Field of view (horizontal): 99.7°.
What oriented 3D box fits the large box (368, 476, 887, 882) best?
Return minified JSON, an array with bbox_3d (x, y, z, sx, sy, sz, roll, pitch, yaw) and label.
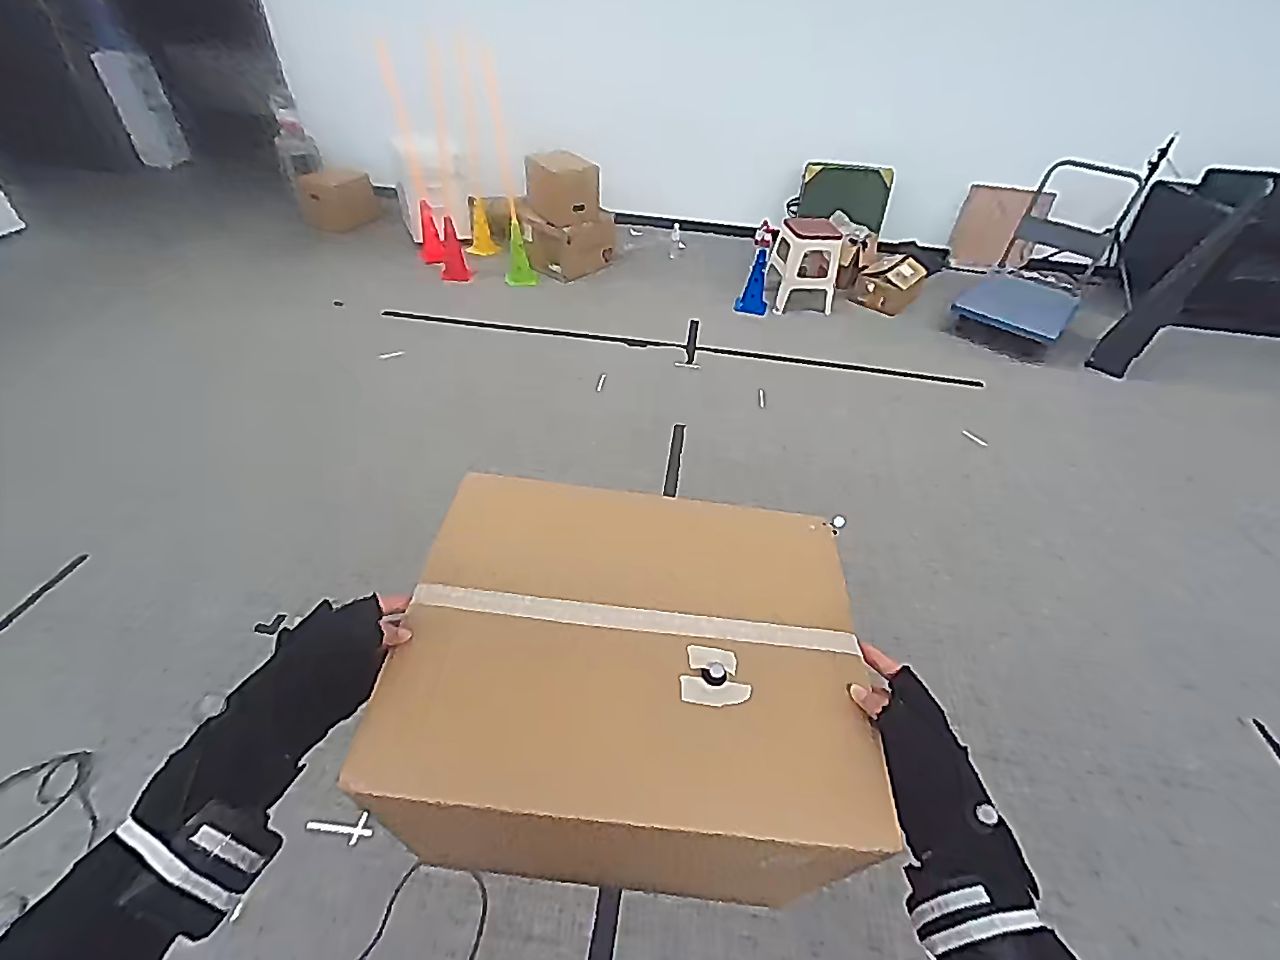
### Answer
[{"bbox_3d":[-0.015,0.229,0.612,0.408,0.320,0.320,8,47,-2],"label":"large box"}]
